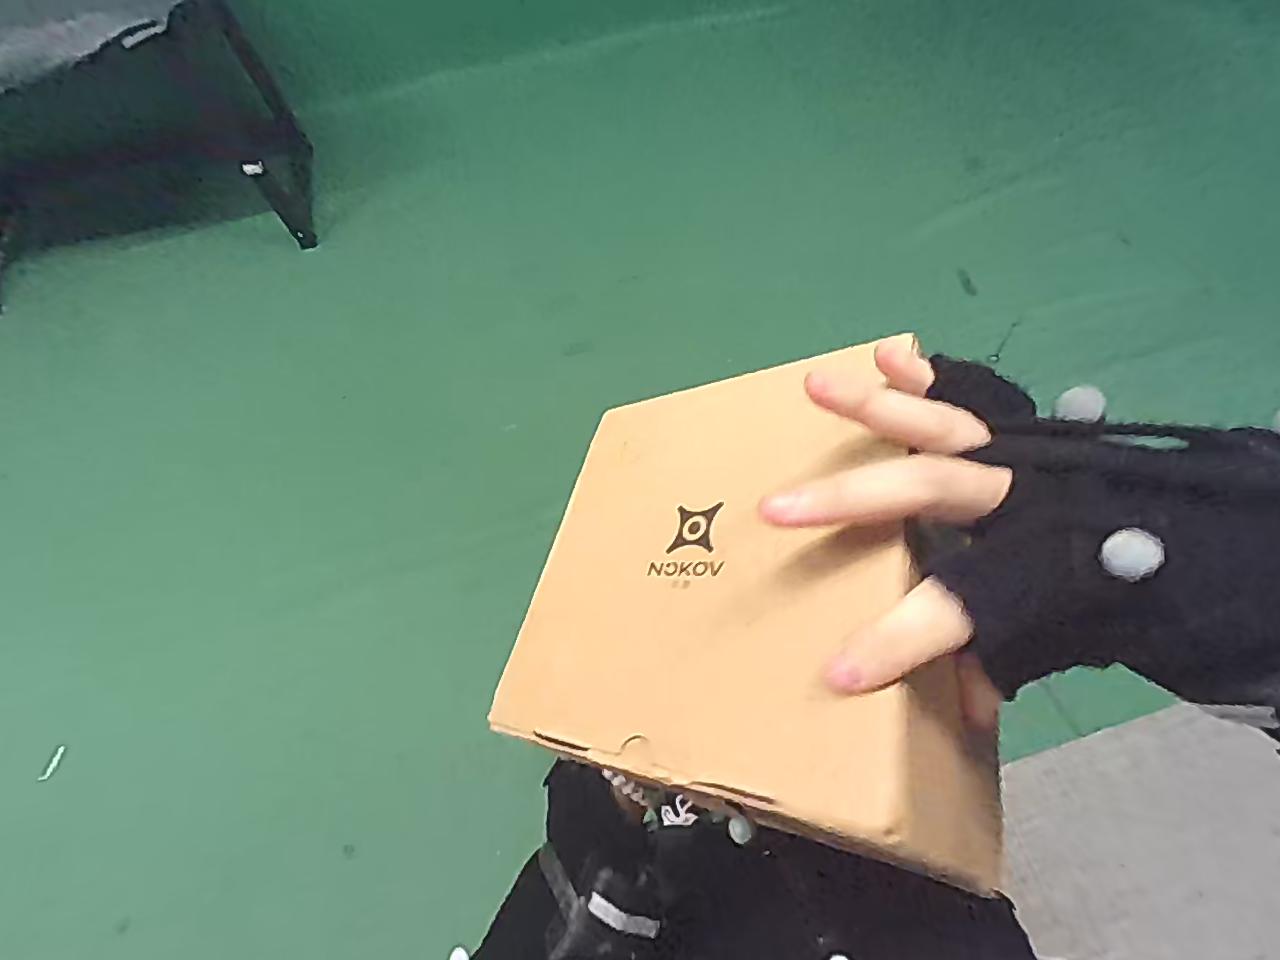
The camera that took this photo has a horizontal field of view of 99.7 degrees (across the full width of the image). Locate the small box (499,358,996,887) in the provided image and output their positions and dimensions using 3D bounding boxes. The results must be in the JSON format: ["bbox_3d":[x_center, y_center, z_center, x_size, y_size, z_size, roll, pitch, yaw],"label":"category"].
[{"bbox_3d":[0.069,0.072,0.276,0.168,0.176,0.179,-7,54,40],"label":"small box"}]
